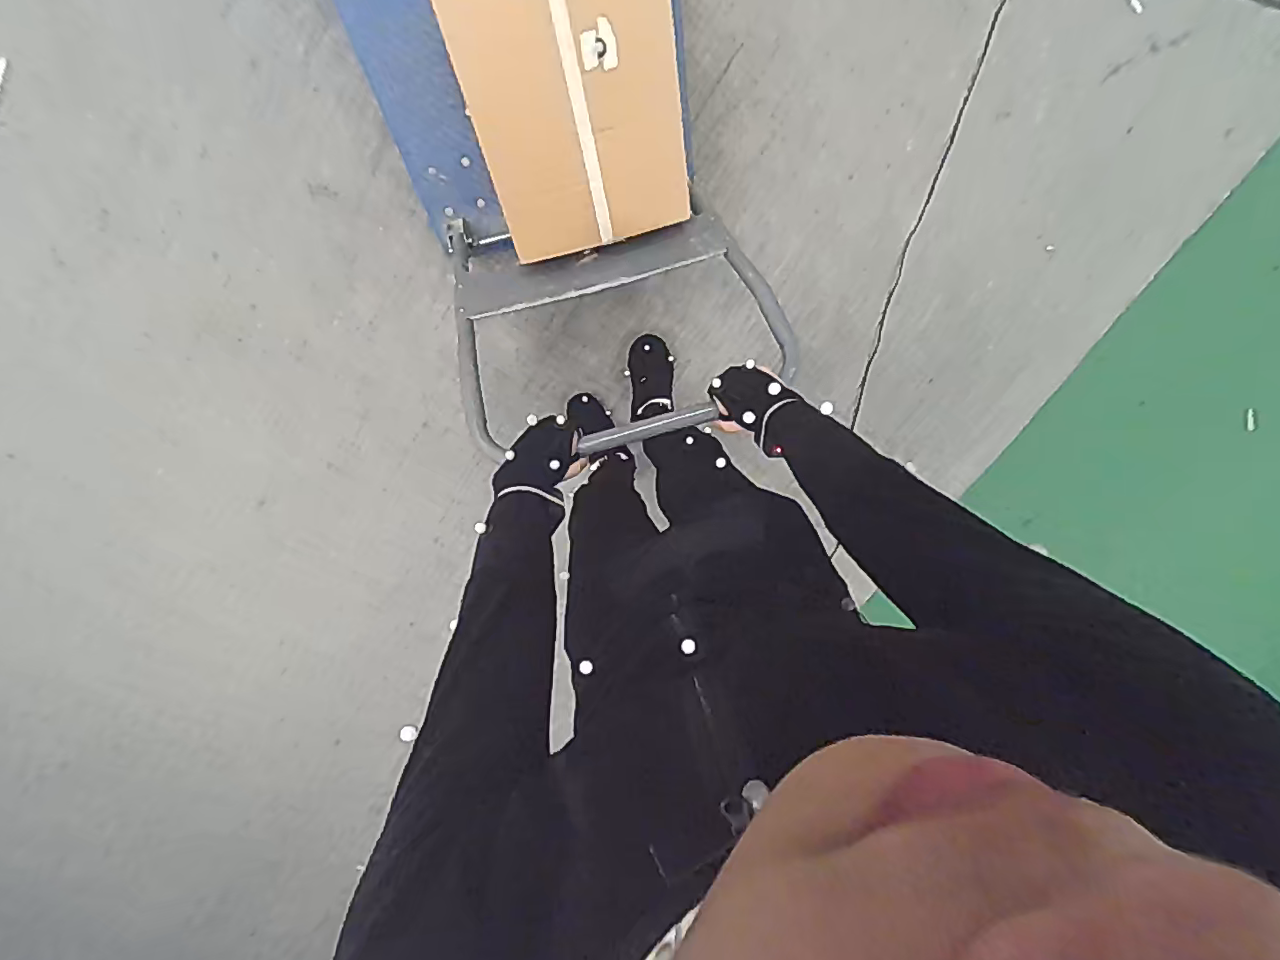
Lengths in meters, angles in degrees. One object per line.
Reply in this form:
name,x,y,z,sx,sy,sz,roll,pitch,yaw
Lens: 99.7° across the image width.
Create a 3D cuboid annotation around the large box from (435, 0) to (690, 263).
large box,-0.120,-0.661,0.931,0.320,0.320,0.408,-16,136,-2
